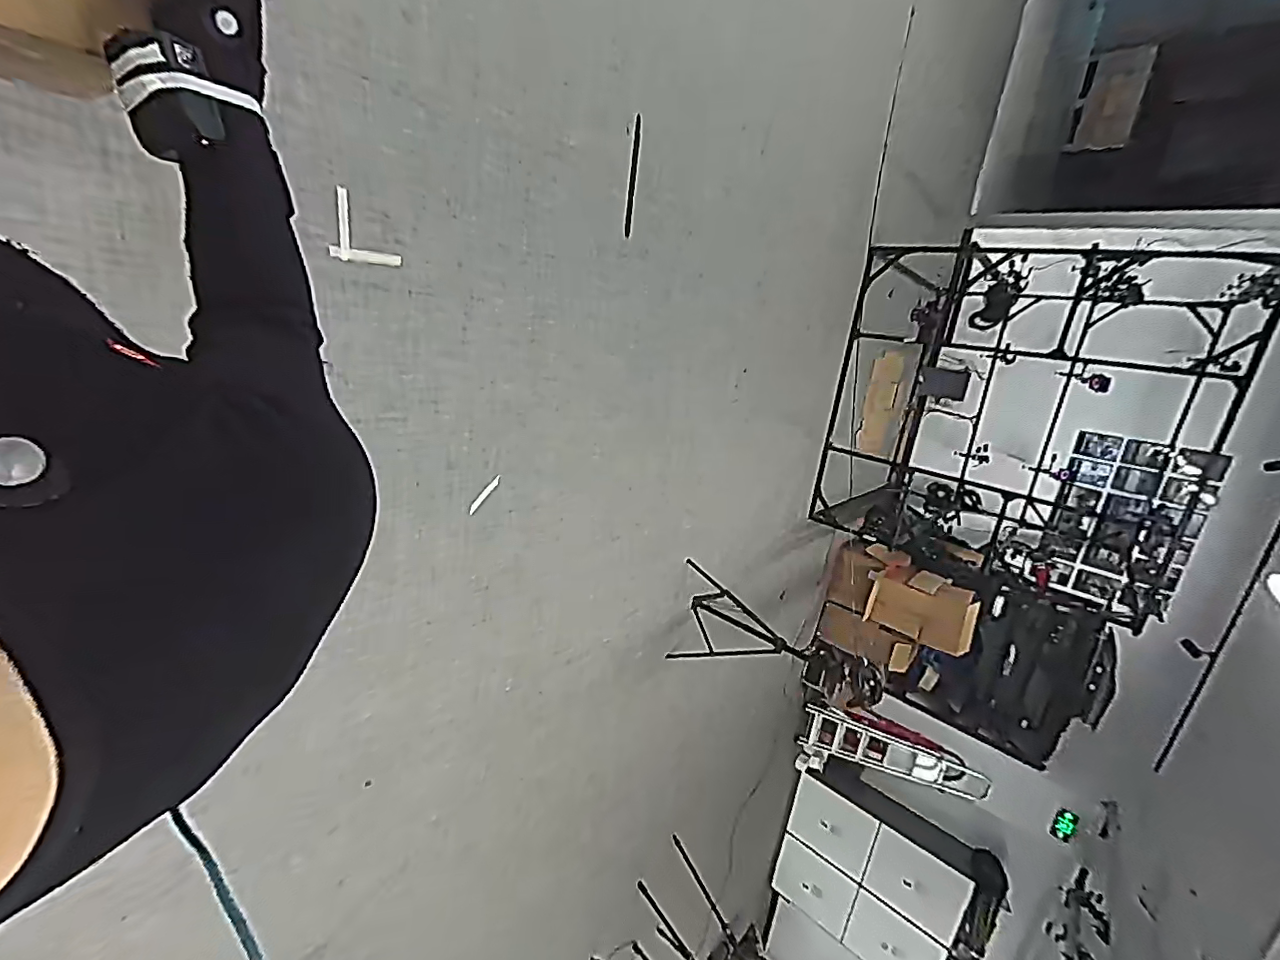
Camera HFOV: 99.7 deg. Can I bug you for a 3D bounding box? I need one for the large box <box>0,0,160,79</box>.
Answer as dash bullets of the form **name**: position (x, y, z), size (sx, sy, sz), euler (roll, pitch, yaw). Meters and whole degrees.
- **large box**: position (-0.568, -0.471, 0.278), size (0.408, 0.320, 0.320), euler (-15, 122, -51)
